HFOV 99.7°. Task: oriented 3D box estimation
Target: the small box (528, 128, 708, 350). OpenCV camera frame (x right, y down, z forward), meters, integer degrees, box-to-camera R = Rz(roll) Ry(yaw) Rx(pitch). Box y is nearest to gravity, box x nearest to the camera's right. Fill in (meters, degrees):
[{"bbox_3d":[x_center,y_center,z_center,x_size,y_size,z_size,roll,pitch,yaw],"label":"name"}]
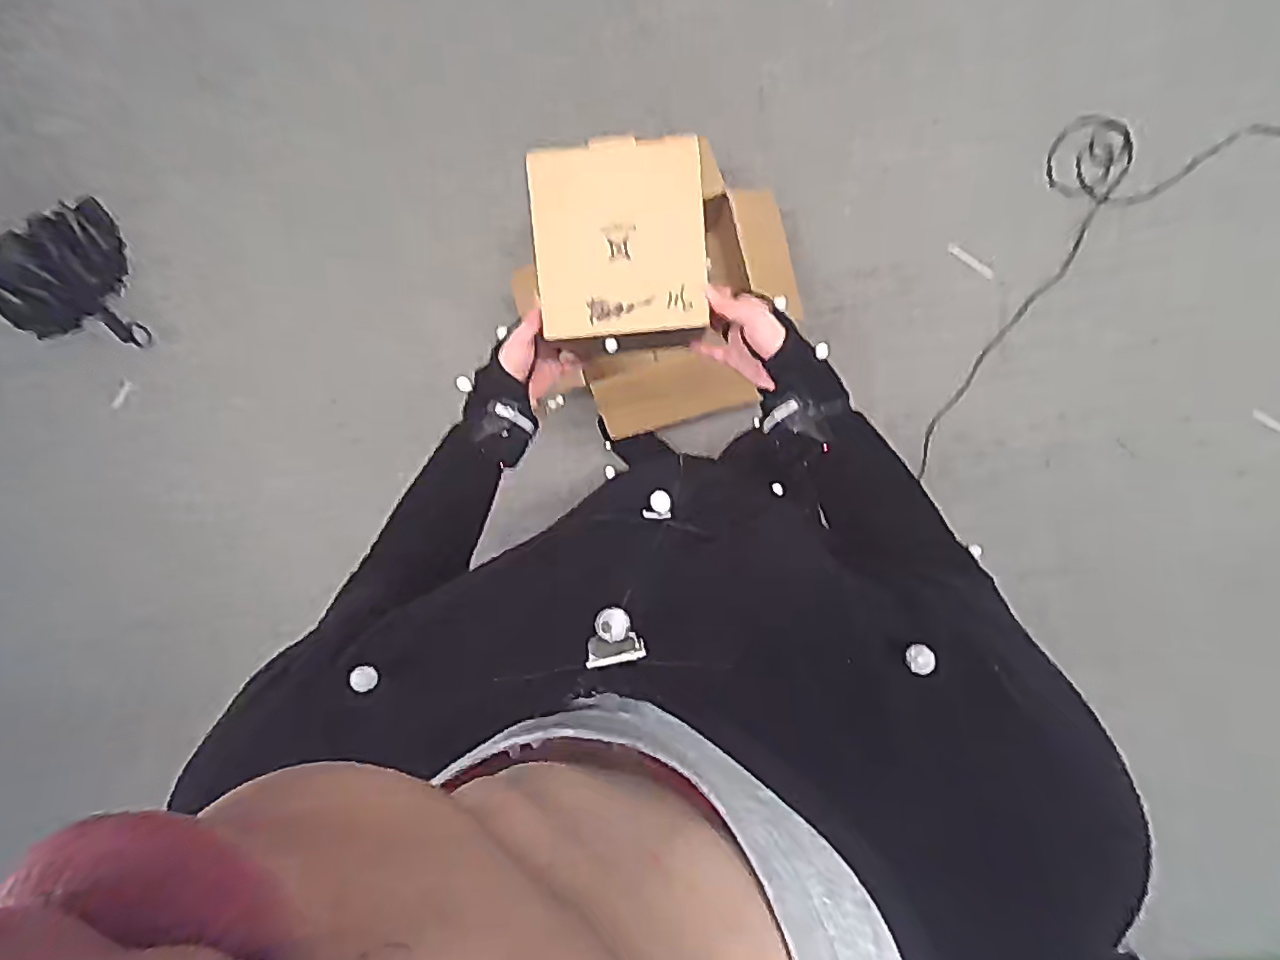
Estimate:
[{"bbox_3d":[-0.017,-0.247,0.595,0.168,0.176,0.179,-4,97,4],"label":"small box"}]
